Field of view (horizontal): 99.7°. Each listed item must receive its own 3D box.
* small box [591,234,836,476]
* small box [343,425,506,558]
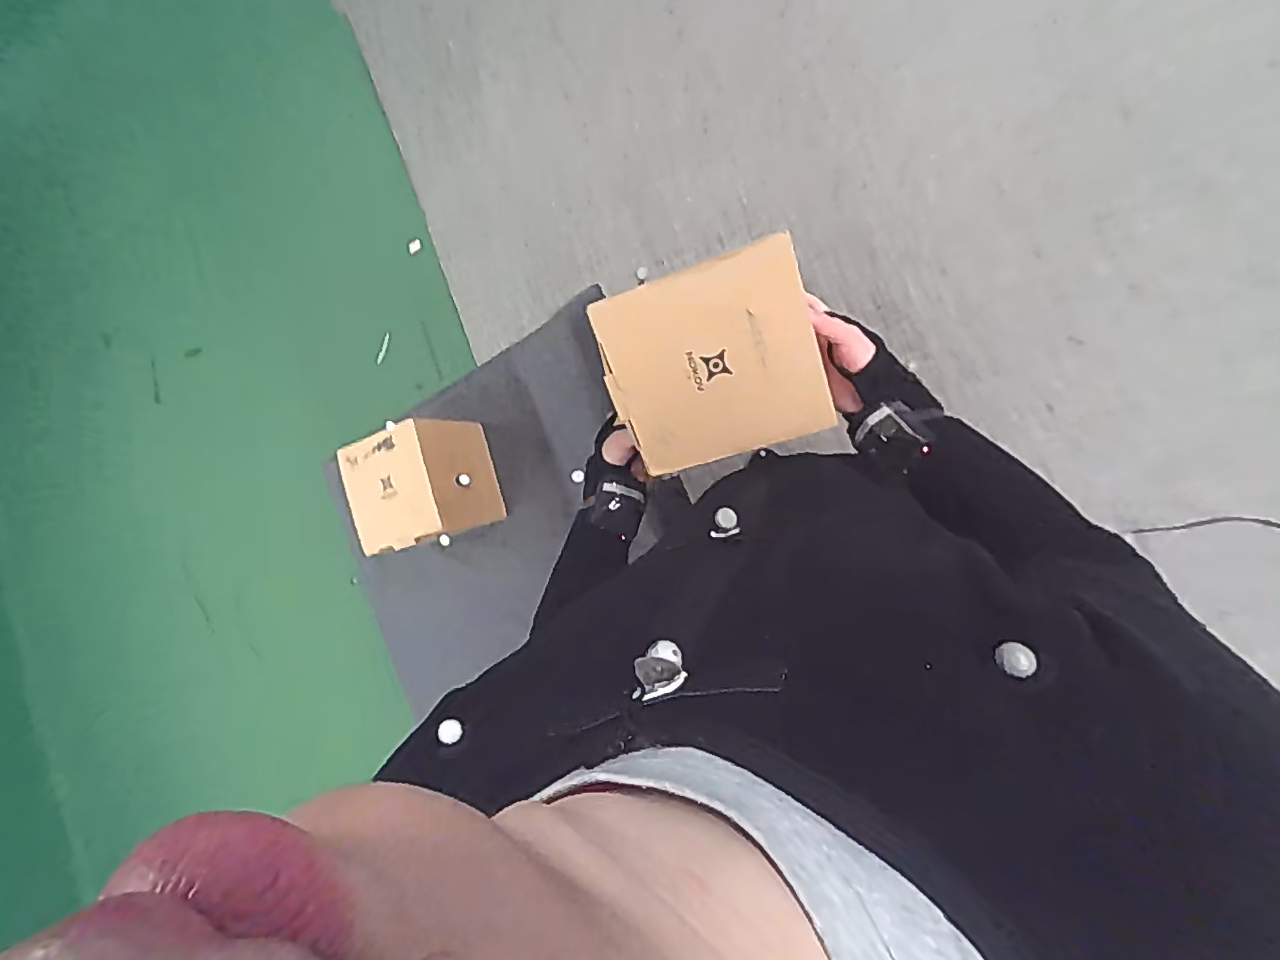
[{"bbox_3d":[0.075,-0.126,0.536,0.179,0.176,0.168,-16,110,15],"label":"small box"},{"bbox_3d":[-0.350,0.014,0.906,0.168,0.176,0.179,-18,87,20],"label":"small box"}]
